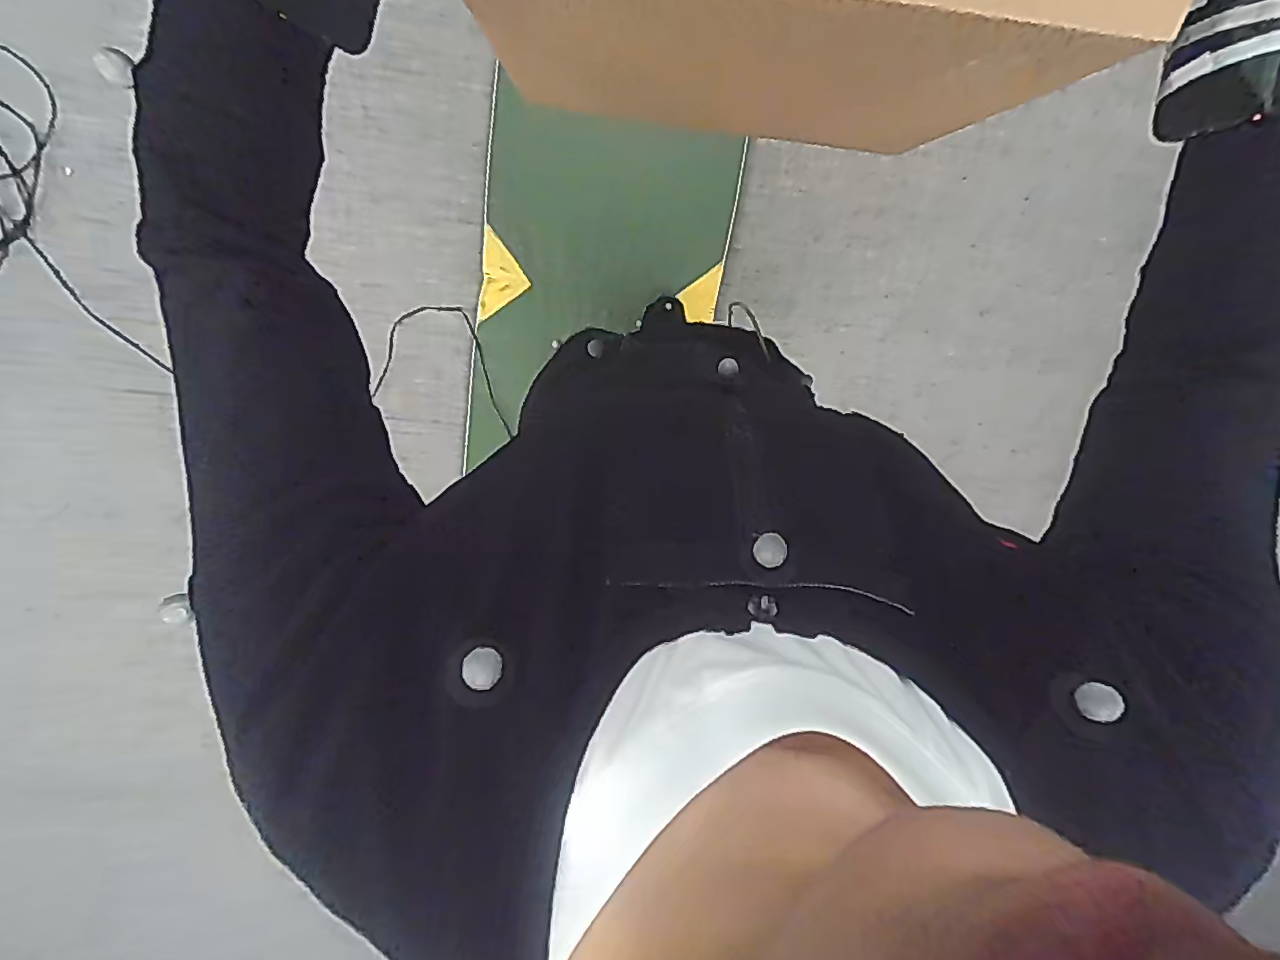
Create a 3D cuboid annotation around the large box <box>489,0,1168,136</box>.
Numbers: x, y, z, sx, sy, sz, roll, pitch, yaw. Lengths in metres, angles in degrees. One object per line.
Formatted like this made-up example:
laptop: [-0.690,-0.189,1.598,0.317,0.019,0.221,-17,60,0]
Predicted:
large box: [0.102,-0.466,0.373,0.408,0.320,0.320,4,112,-5]
